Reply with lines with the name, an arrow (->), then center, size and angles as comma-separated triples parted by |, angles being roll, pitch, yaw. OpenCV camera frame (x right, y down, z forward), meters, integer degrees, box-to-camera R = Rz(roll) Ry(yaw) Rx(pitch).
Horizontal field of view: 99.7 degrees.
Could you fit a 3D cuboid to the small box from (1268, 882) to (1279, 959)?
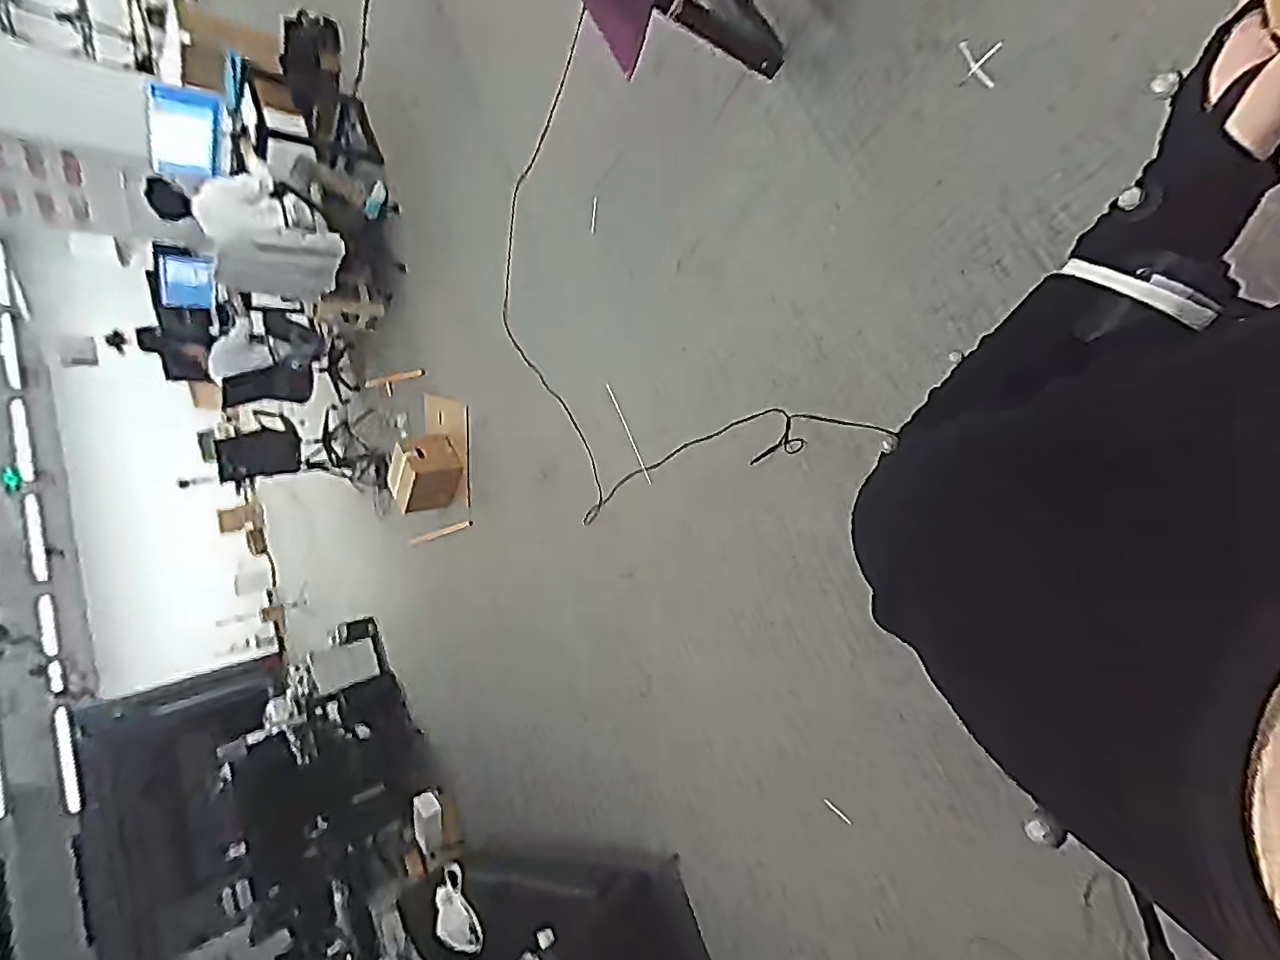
small box -> 0.745, 0.522, 0.504 | 0.168, 0.176, 0.179 | -32, 74, 46
